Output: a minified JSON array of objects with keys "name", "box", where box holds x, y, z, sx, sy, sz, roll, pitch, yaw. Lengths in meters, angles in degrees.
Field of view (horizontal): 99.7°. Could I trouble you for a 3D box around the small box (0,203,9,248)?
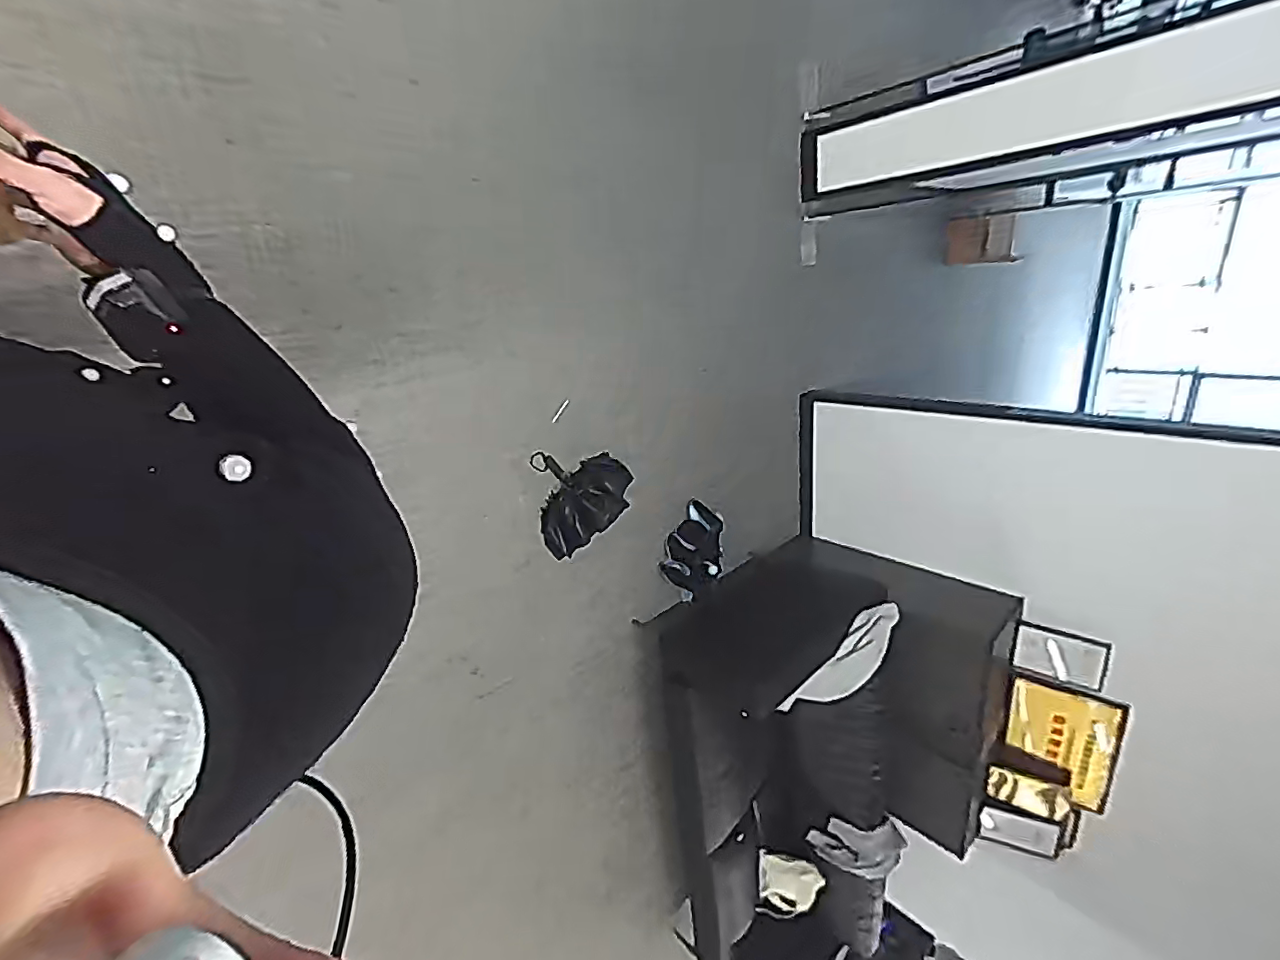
[{"name":"small box","box":[-0.584,-0.265,0.360,0.168,0.176,0.179,-15,106,-37]}]
